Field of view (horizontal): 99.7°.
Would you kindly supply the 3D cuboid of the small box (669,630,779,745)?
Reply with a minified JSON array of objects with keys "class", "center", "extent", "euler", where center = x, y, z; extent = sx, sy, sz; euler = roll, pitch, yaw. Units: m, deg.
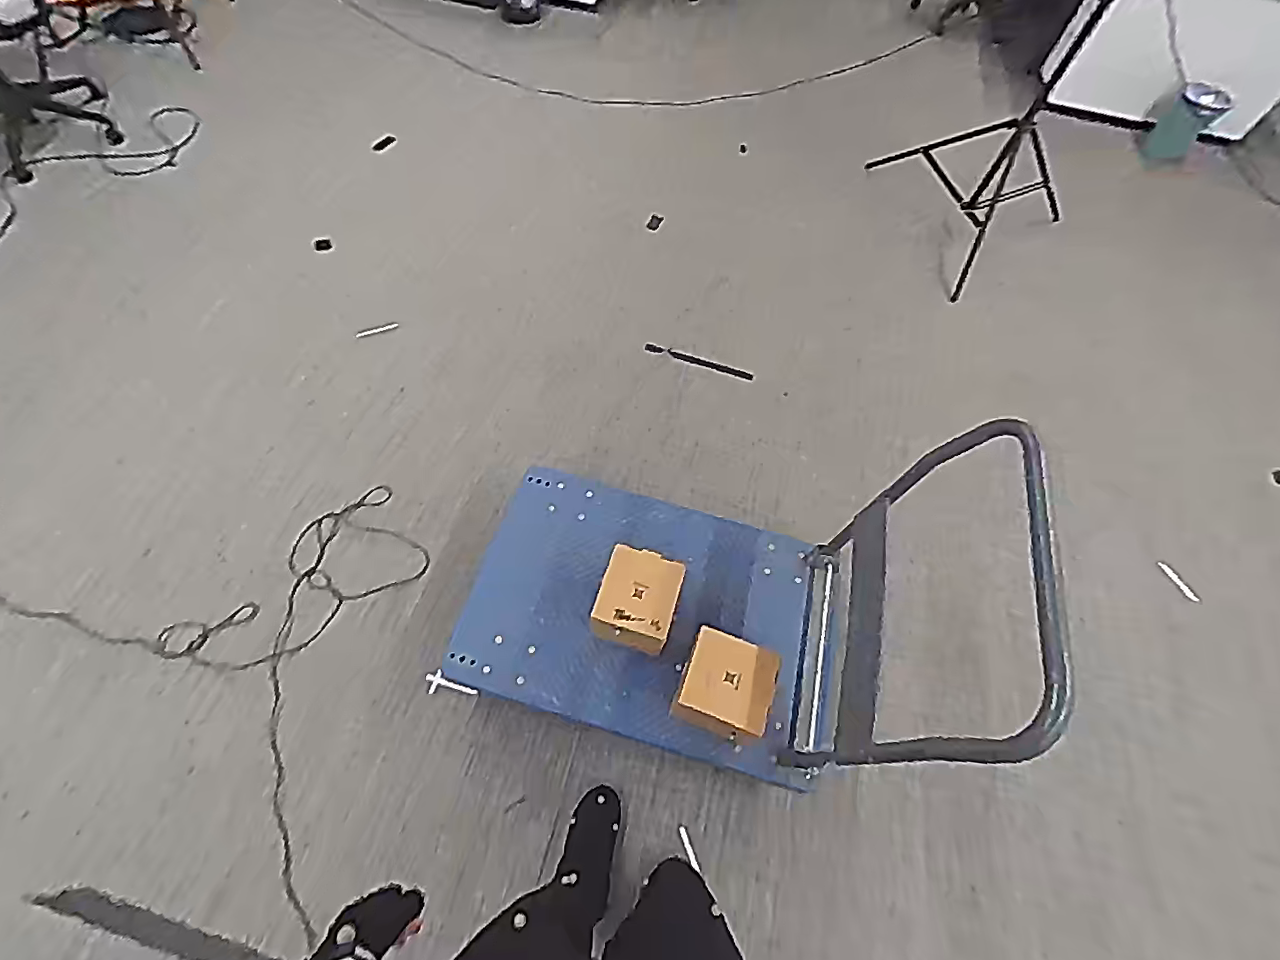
[{"class":"small box","center":[0.174,0.448,1.153],"extent":[0.179,0.176,0.168],"euler":[19,59,8]}]

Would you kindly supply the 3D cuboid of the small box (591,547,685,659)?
[{"class":"small box","center":[-0.008,0.284,1.229],"extent":[0.168,0.176,0.179],"euler":[17,59,6]}]
